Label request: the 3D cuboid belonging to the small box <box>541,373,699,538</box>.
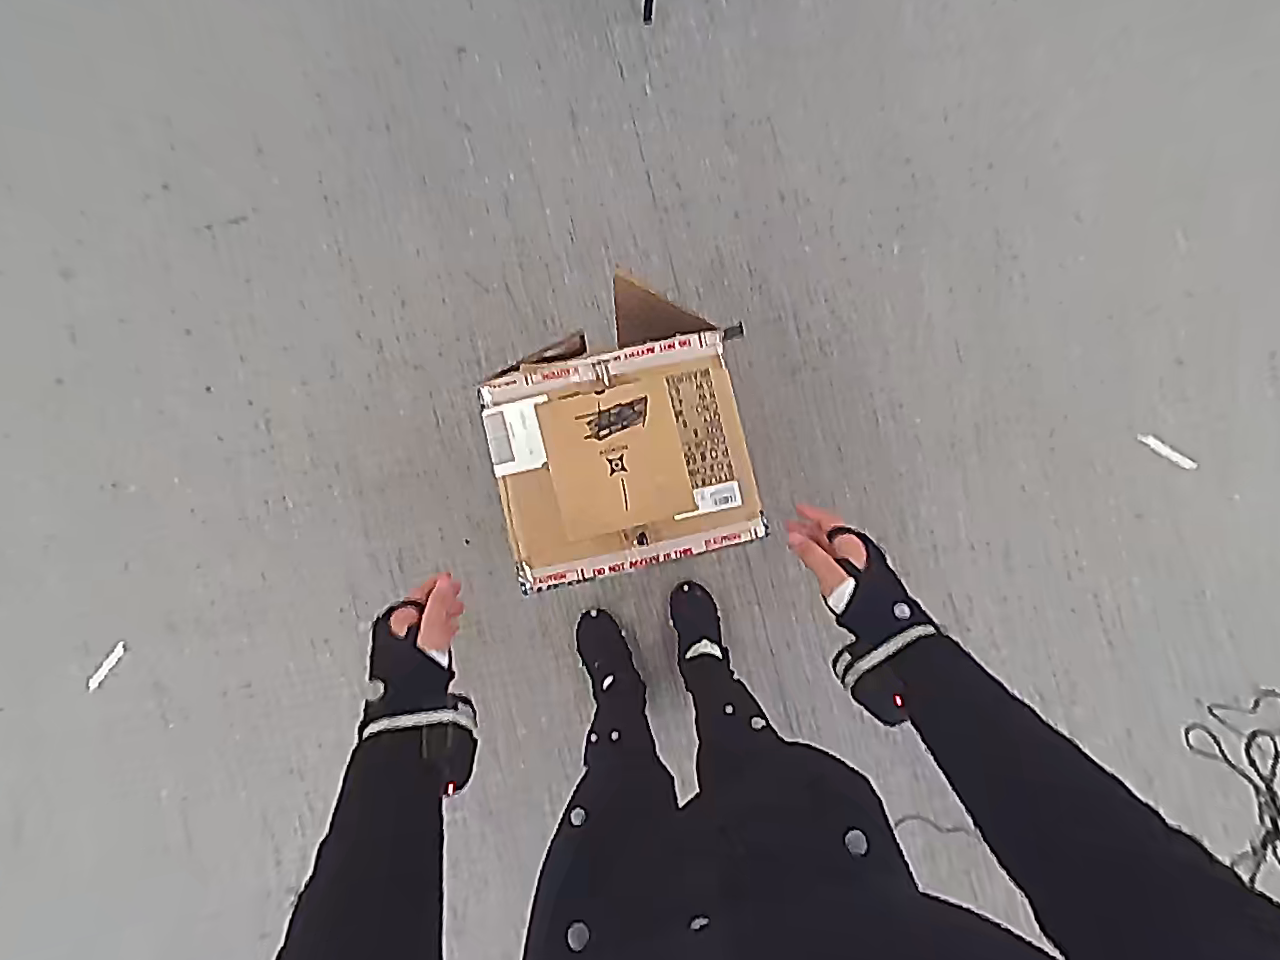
[{"bbox_3d":[-0.027,-0.031,0.740,0.168,0.176,0.179,-14,92,-1],"label":"small box"}]
